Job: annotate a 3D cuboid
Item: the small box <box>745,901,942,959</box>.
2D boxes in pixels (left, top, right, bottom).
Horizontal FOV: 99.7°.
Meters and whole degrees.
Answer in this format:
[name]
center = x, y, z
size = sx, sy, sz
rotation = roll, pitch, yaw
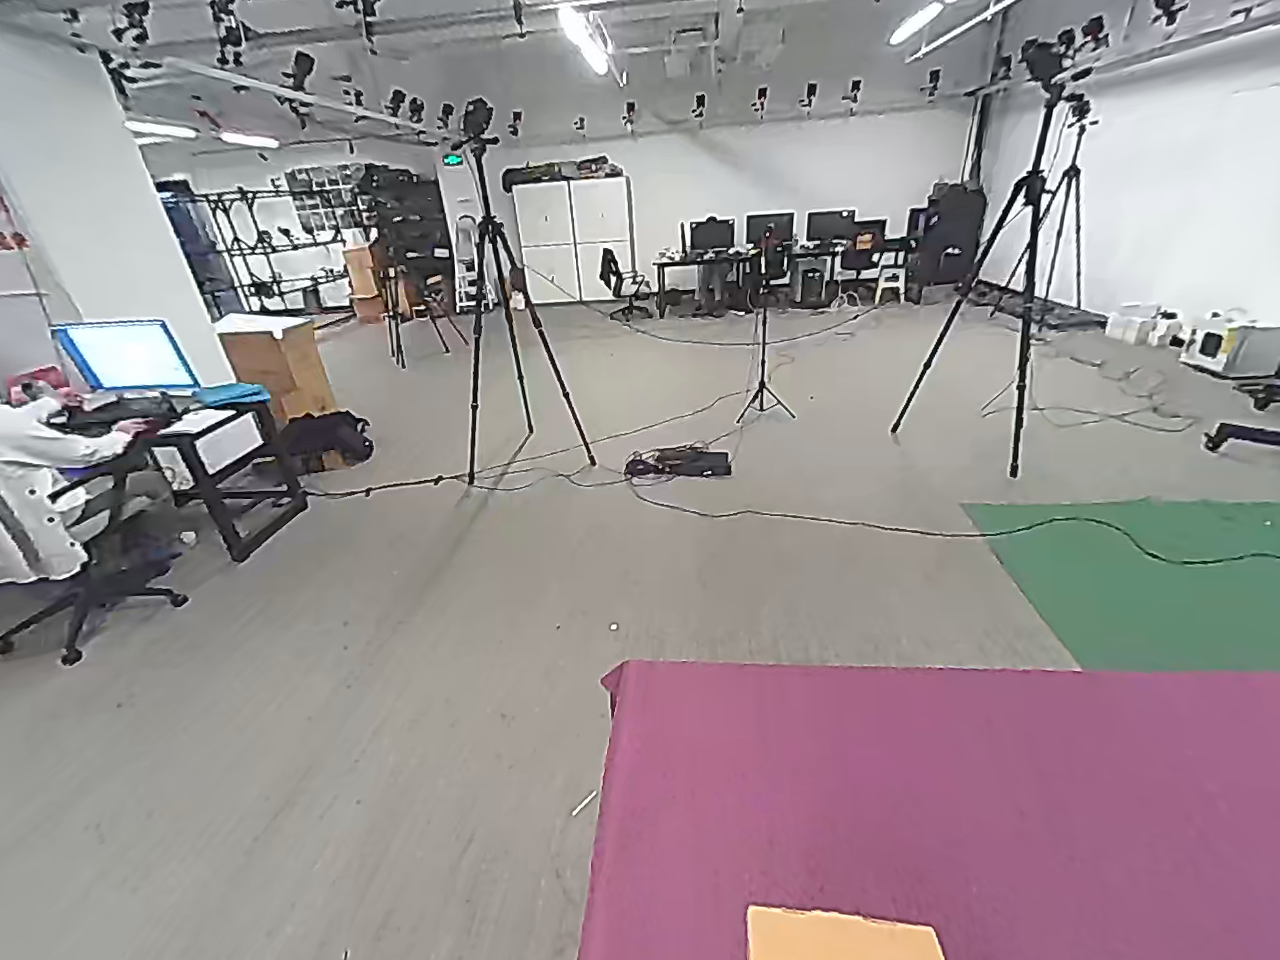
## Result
[small box]
center = 0.172, 0.500, 0.441
size = 0.168, 0.176, 0.179
rotation = -1, 14, 10
